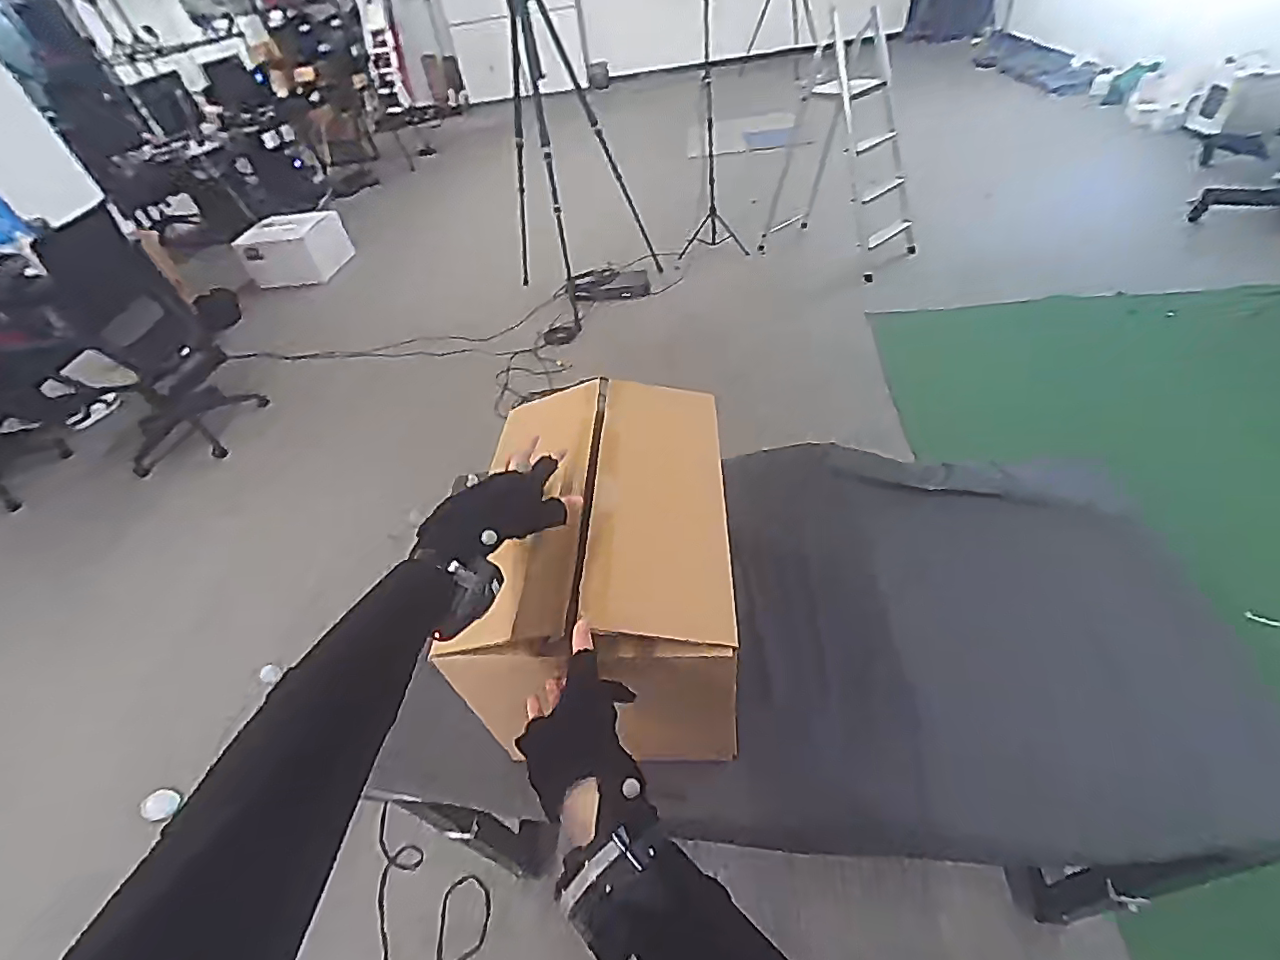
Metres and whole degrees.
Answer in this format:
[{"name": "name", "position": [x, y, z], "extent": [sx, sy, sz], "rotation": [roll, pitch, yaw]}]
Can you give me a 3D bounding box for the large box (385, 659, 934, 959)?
[{"name": "large box", "position": [0.025, 0.400, 0.447], "extent": [0.320, 0.320, 0.408], "rotation": [-4, 76, -42]}]
